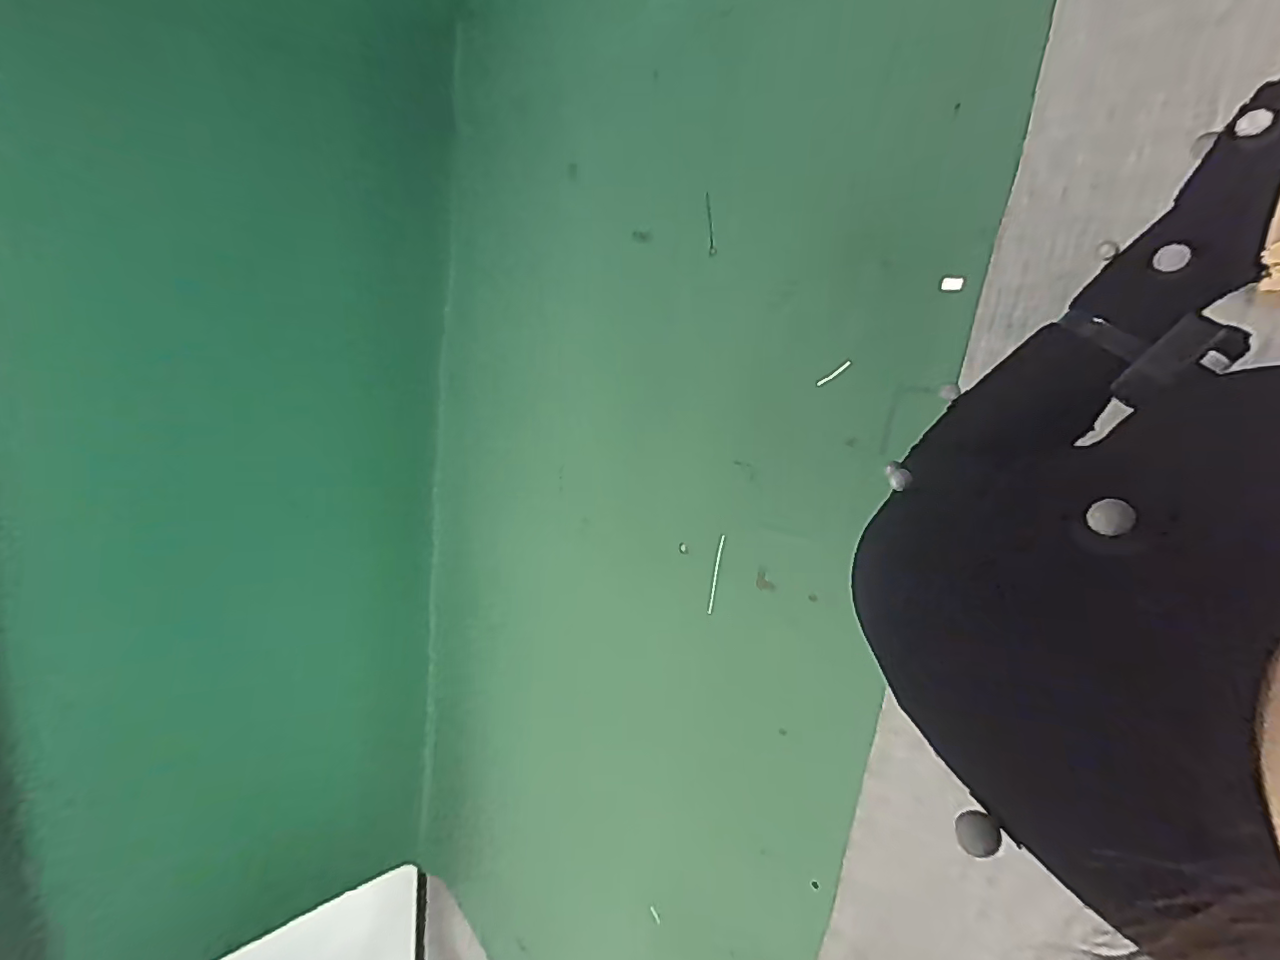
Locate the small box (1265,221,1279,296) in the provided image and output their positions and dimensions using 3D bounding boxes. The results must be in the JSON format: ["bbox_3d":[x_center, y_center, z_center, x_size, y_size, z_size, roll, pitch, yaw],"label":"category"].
[{"bbox_3d":[1.147,-0.405,0.868,0.168,0.176,0.179,14,104,46],"label":"small box"}]
